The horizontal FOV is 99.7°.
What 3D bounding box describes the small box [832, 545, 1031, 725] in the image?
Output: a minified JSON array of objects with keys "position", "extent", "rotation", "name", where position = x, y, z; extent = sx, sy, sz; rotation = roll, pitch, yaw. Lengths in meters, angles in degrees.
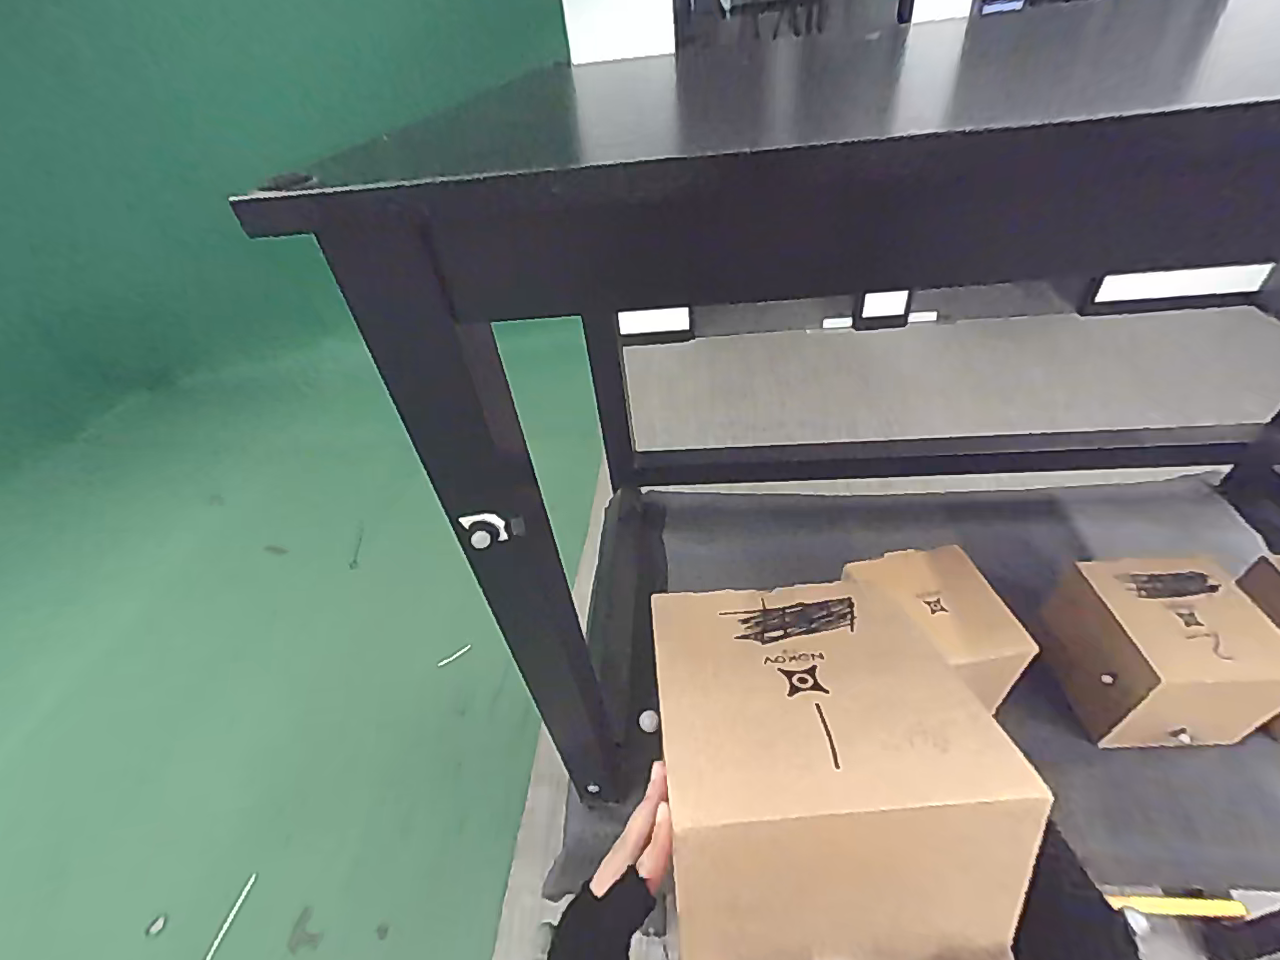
[{"position":[0.385,0.220,0.753],"extent":[0.168,0.176,0.179],"rotation":[-9,40,-2],"name":"small box"}]
